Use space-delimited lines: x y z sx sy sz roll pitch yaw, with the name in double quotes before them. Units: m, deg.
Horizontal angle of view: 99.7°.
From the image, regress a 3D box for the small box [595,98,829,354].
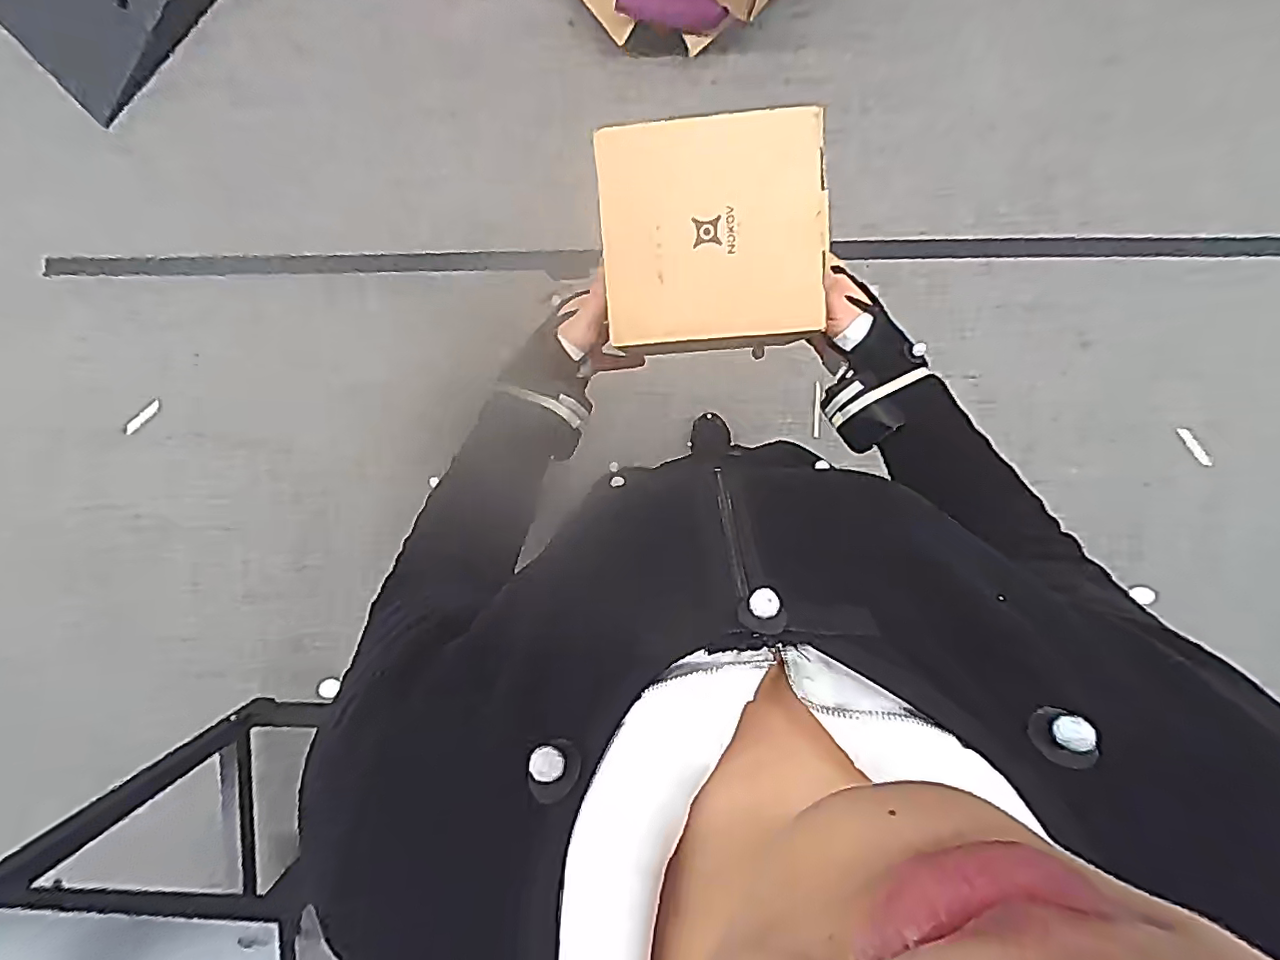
"small box" 0.063 -0.211 0.500 0.179 0.176 0.168 -4 98 6
